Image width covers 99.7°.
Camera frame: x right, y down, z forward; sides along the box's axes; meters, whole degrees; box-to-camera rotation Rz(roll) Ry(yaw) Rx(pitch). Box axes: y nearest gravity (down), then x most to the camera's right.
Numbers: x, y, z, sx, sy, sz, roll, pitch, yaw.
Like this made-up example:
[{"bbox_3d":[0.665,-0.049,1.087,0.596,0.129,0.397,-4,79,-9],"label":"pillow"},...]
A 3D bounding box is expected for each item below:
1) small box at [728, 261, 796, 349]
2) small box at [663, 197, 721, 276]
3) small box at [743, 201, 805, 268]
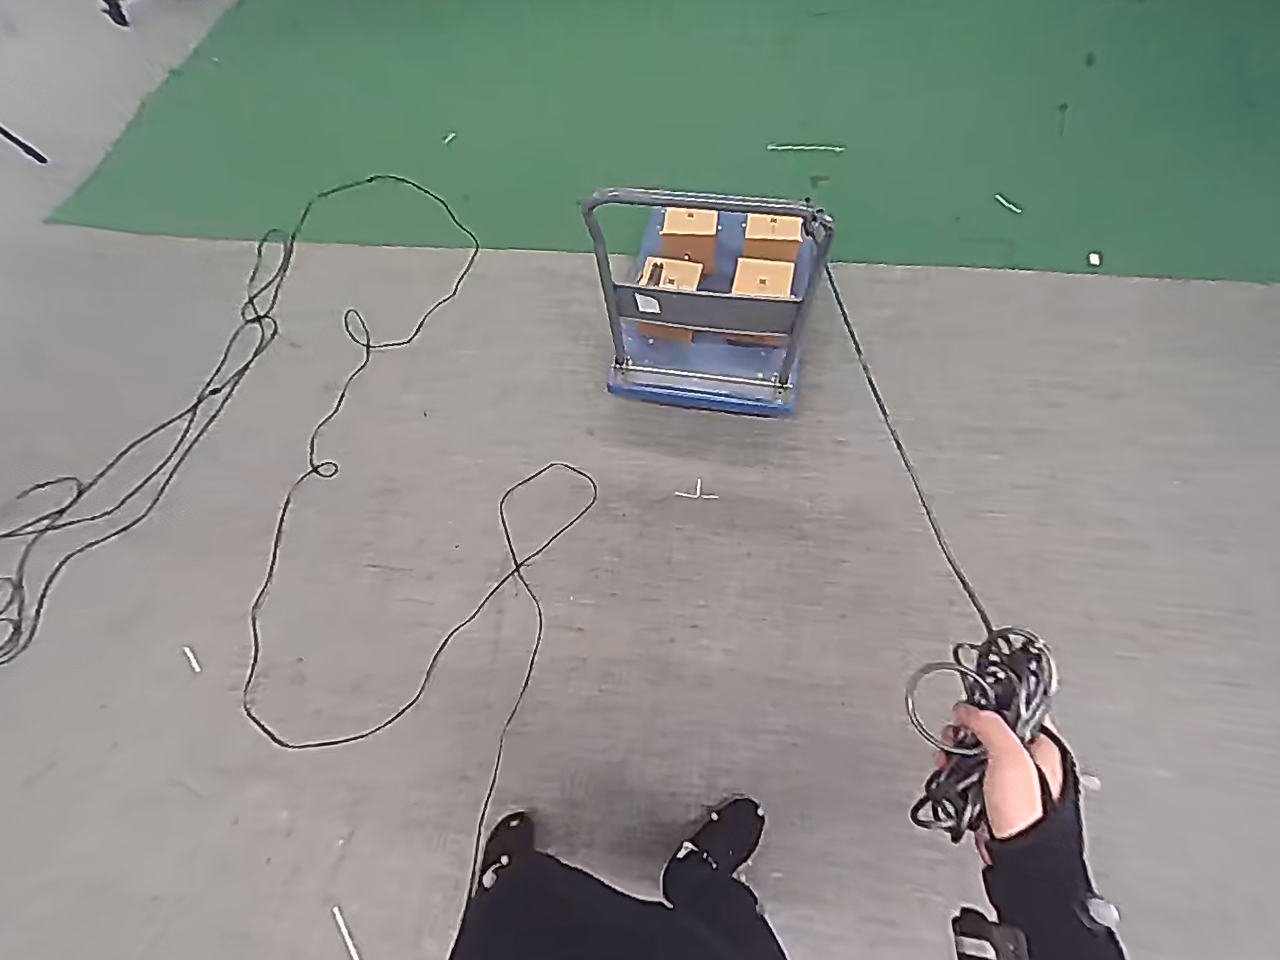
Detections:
[{"bbox_3d":[0.363,-0.526,1.631,0.168,0.176,0.179,10,67,9],"label":"small box"},{"bbox_3d":[0.171,-0.791,1.765,0.168,0.176,0.179,6,67,7],"label":"small box"},{"bbox_3d":[0.423,-0.758,1.728,0.168,0.176,0.179,7,68,9],"label":"small box"}]
